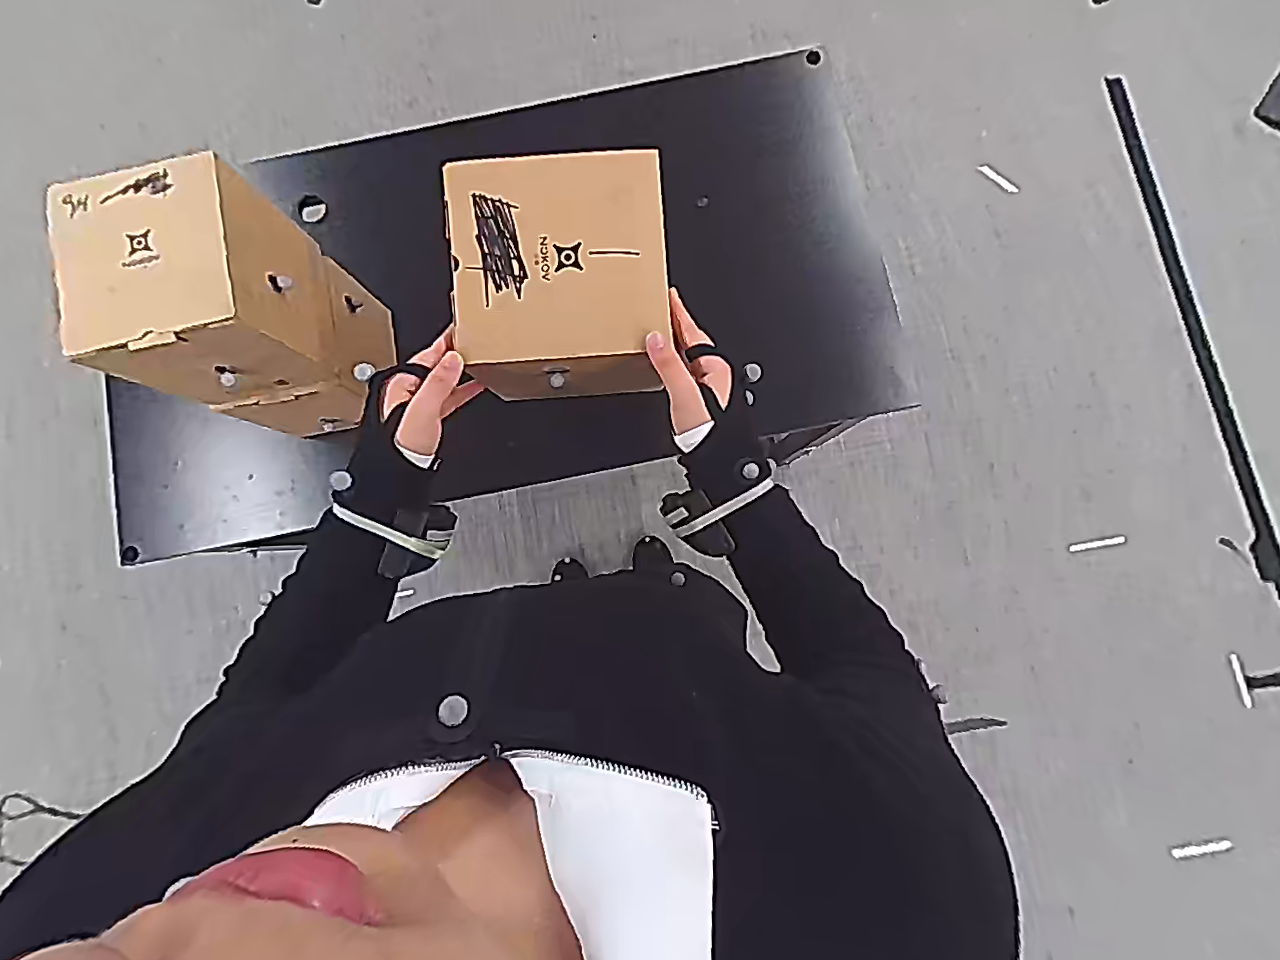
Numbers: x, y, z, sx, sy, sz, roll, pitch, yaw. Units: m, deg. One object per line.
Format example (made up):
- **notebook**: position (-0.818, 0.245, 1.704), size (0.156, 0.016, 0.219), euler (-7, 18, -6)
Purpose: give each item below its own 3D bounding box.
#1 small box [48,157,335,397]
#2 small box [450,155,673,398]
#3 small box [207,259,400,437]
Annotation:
- **small box**: position (-0.460, -0.198, 0.582), size (0.168, 0.176, 0.179), euler (-13, 84, -1)
- **small box**: position (-0.064, -0.175, 0.514), size (0.179, 0.176, 0.168), euler (-4, 89, -1)
- **small box**: position (-0.453, -0.170, 0.743), size (0.168, 0.176, 0.179), euler (-10, 83, 0)
